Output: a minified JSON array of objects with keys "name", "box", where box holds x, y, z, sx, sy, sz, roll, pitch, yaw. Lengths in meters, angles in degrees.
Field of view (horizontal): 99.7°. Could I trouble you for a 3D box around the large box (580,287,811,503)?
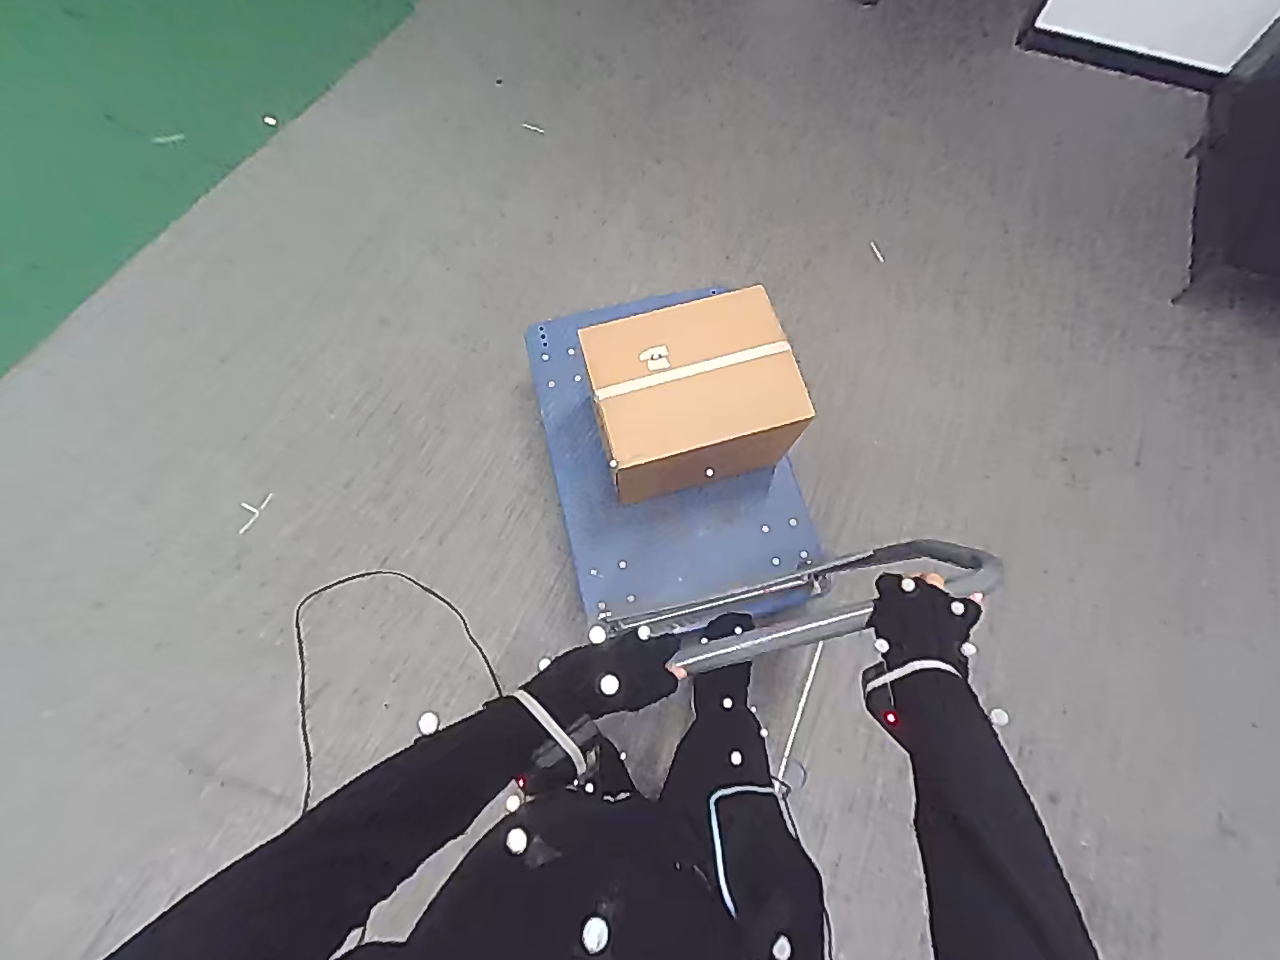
[{"name":"large box","box":[0.111,-0.174,1.236,0.408,0.320,0.320,-17,75,-4]}]
